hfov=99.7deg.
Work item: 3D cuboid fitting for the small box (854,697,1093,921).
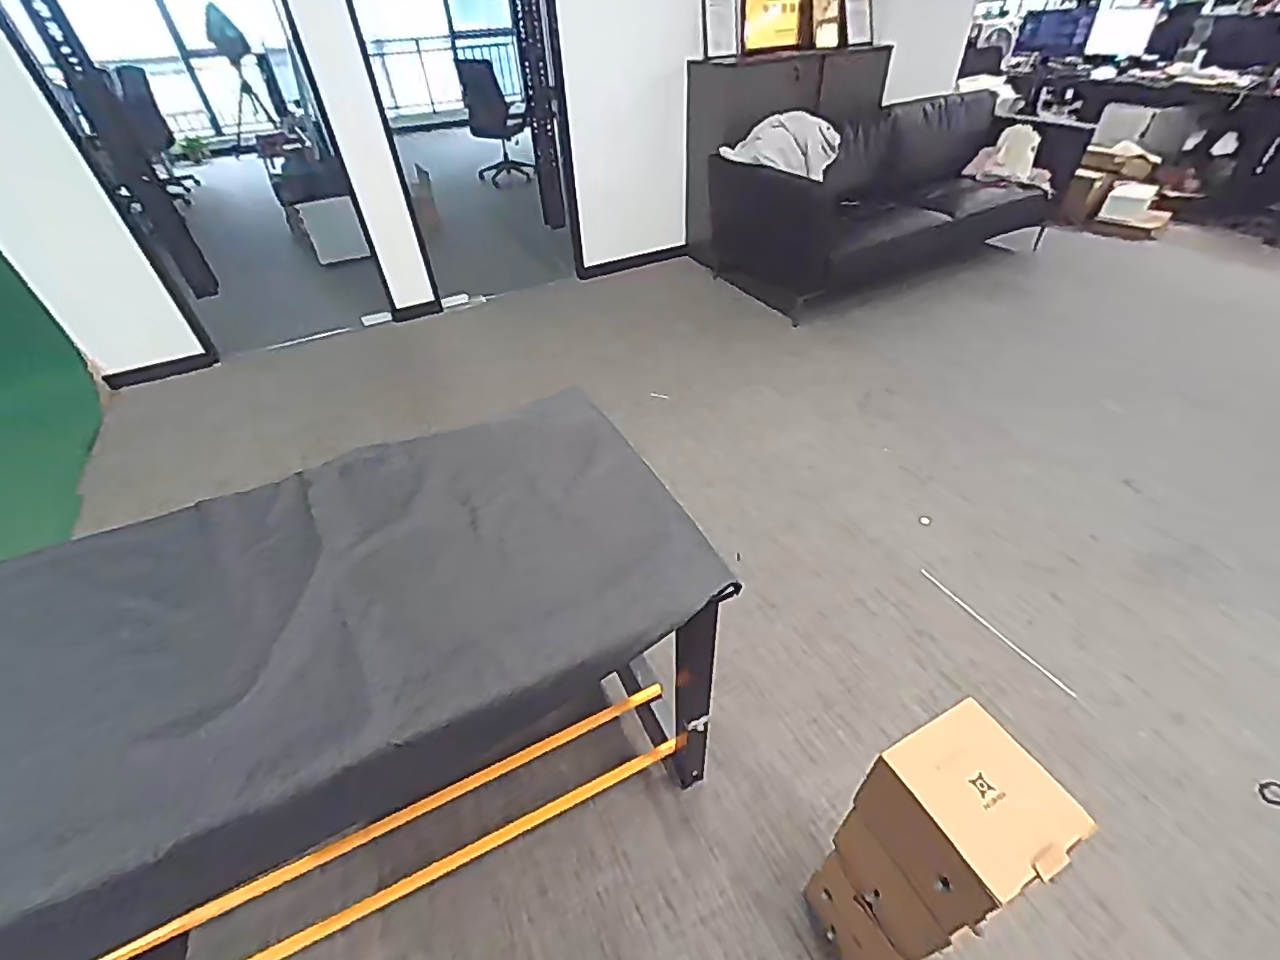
[{"bbox_3d":[0.412,0.428,0.701,0.168,0.176,0.179,-20,43,-19],"label":"small box"}]

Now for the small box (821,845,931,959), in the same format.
[{"bbox_3d":[0.425,0.682,0.906,0.179,0.176,0.168,-20,44,-20],"label":"small box"}]

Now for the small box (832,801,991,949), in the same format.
[{"bbox_3d":[0.419,0.553,0.803,0.168,0.176,0.179,-19,45,-19],"label":"small box"}]

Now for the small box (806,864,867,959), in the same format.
[{"bbox_3d":[0.440,0.799,1.019,0.179,0.176,0.168,-18,43,-18],"label":"small box"}]
